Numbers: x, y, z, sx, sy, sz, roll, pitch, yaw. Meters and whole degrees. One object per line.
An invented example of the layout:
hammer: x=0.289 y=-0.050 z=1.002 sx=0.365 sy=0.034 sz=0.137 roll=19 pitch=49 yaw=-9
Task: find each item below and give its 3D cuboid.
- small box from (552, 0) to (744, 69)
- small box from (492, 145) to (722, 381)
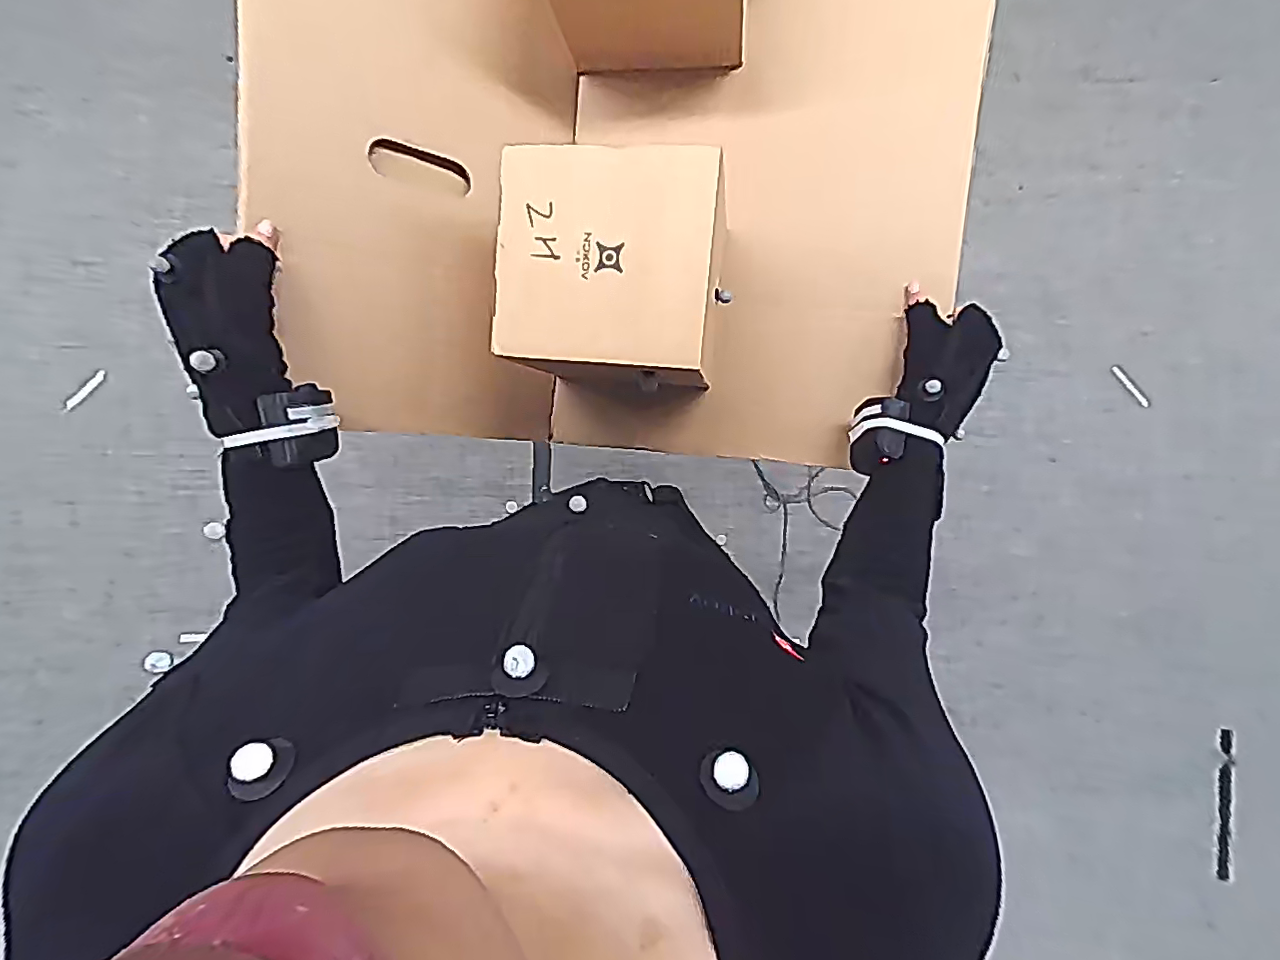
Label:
small box: x=0.007 y=-0.503 z=0.478 sx=0.179 sy=0.176 sz=0.168 roll=5 pitch=96 yaw=9
small box: x=-0.018 y=-0.187 z=0.510 sx=0.179 sy=0.176 sz=0.168 roll=7 pitch=96 yaw=10
